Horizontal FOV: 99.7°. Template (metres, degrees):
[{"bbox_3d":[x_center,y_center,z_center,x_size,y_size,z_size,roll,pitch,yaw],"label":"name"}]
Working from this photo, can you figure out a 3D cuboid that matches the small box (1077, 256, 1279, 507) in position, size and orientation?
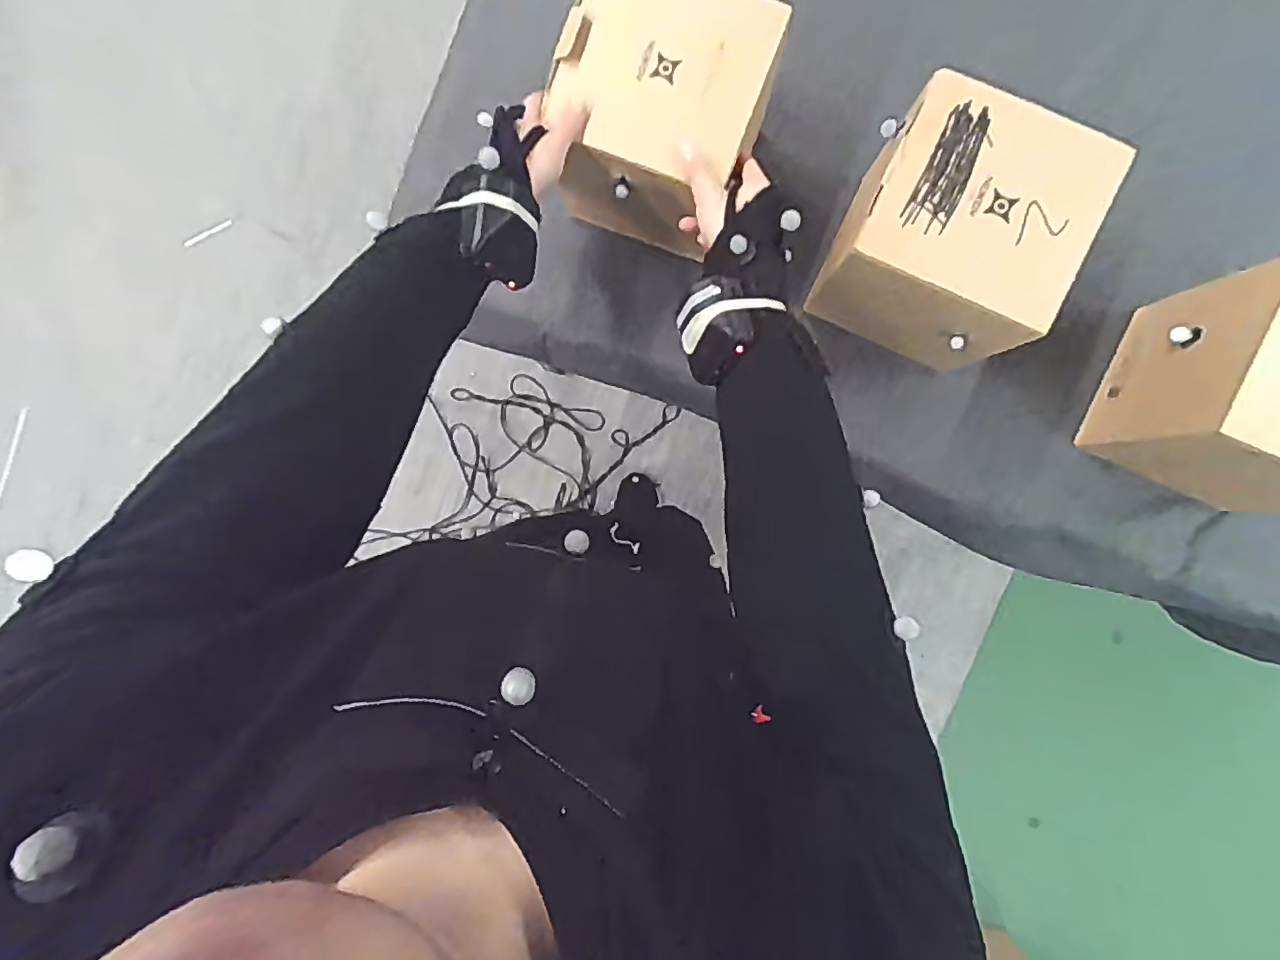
[{"bbox_3d":[0.577,-0.077,0.509,0.179,0.176,0.168,24,92,2],"label":"small box"}]
